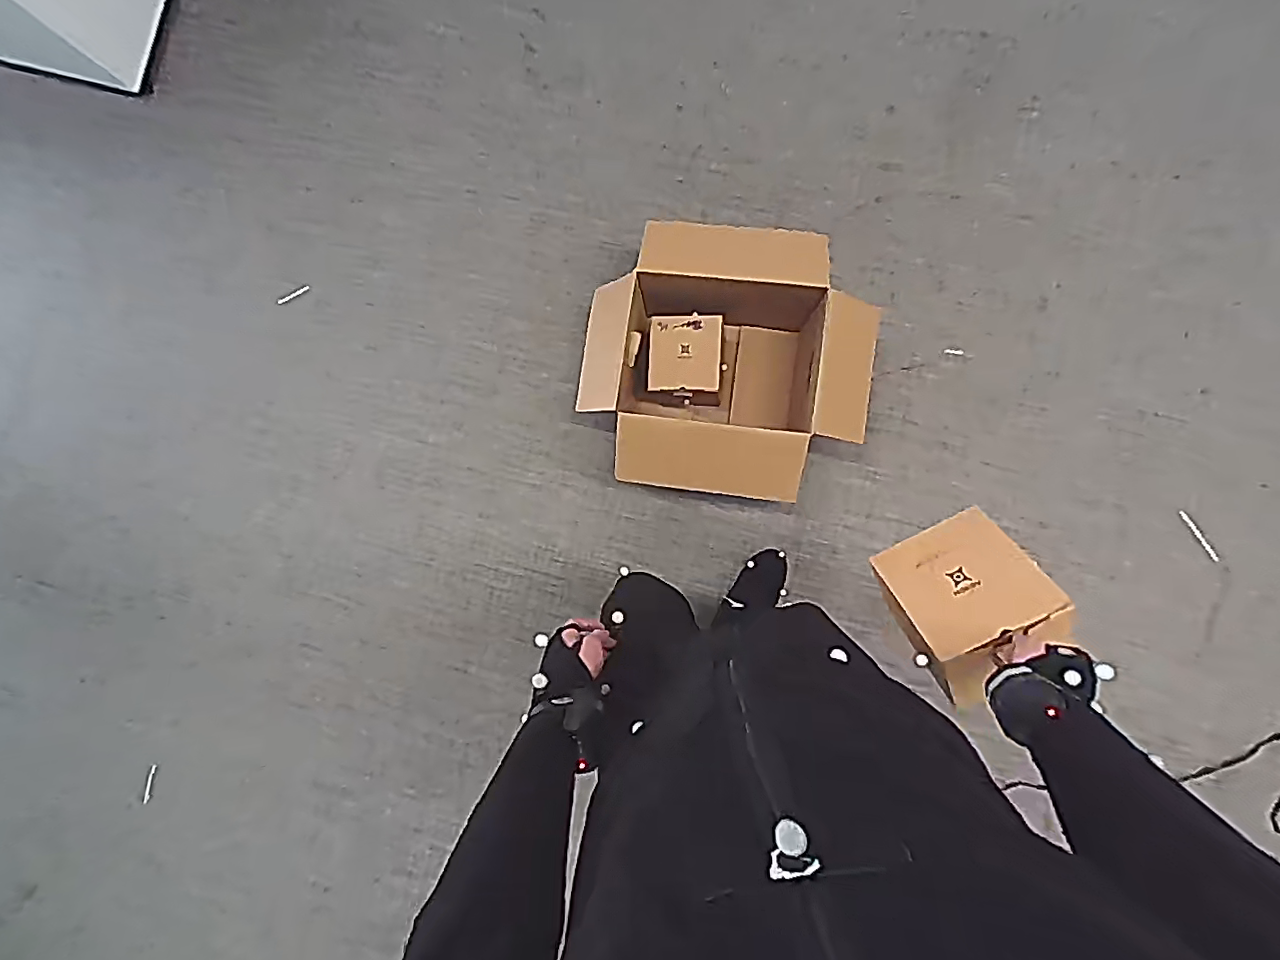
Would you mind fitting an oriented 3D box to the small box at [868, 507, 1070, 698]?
[{"bbox_3d":[0.451,0.177,0.749,0.168,0.179,0.176,-29,128,10],"label":"small box"}]
